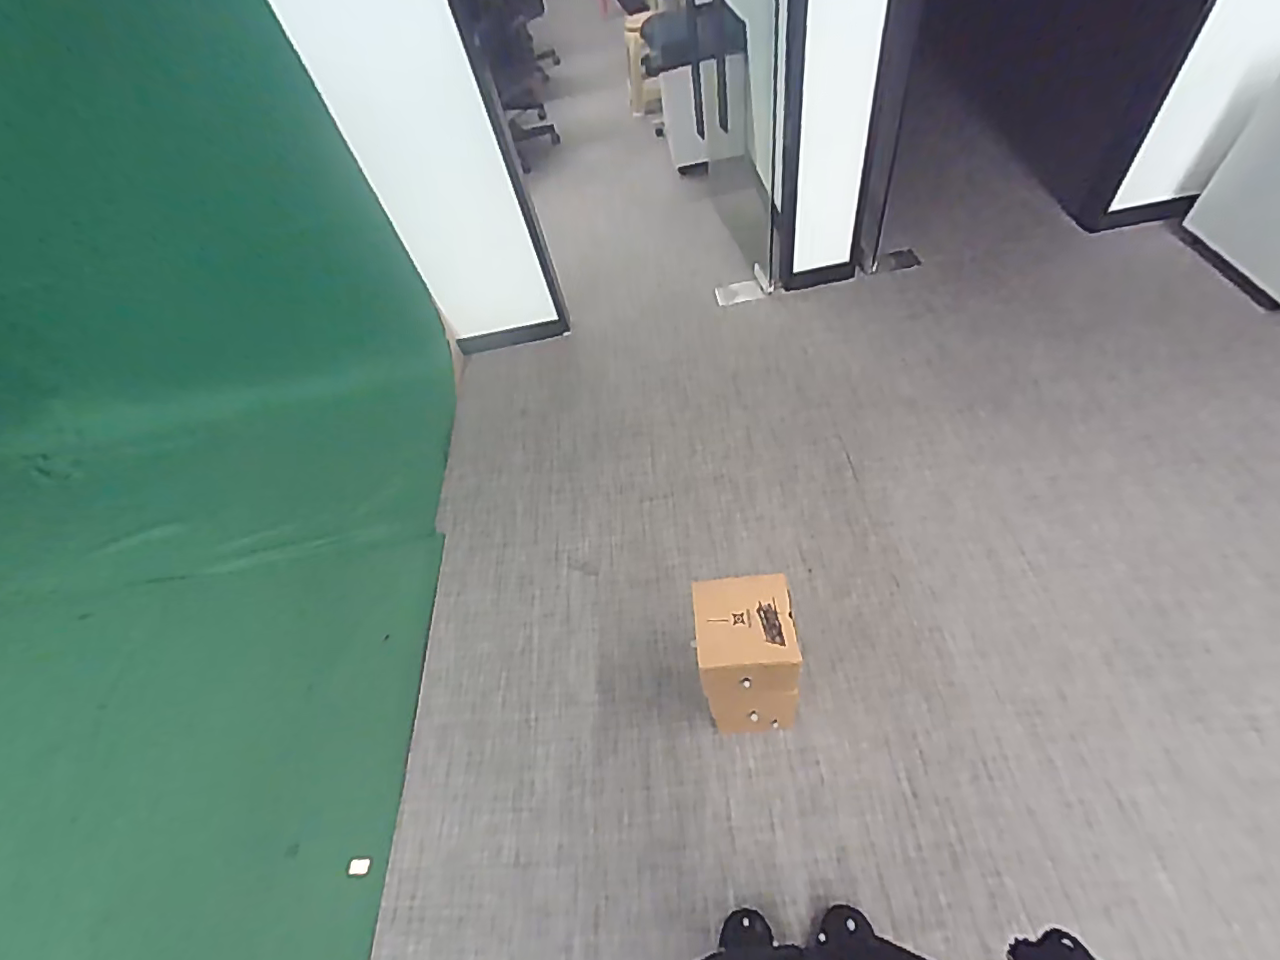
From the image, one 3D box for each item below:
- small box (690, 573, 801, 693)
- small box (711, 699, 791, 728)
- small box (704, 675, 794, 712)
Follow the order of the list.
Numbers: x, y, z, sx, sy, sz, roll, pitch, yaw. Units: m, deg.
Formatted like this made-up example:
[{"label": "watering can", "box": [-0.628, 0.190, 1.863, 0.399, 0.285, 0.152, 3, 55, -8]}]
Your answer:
[{"label": "small box", "box": [0.194, 0.293, 1.027, 0.179, 0.176, 0.168, -8, 53, 5]}, {"label": "small box", "box": [0.253, 0.482, 1.289, 0.179, 0.176, 0.168, -9, 52, 7]}, {"label": "small box", "box": [0.224, 0.391, 1.156, 0.179, 0.176, 0.168, -4, 53, 8]}]
